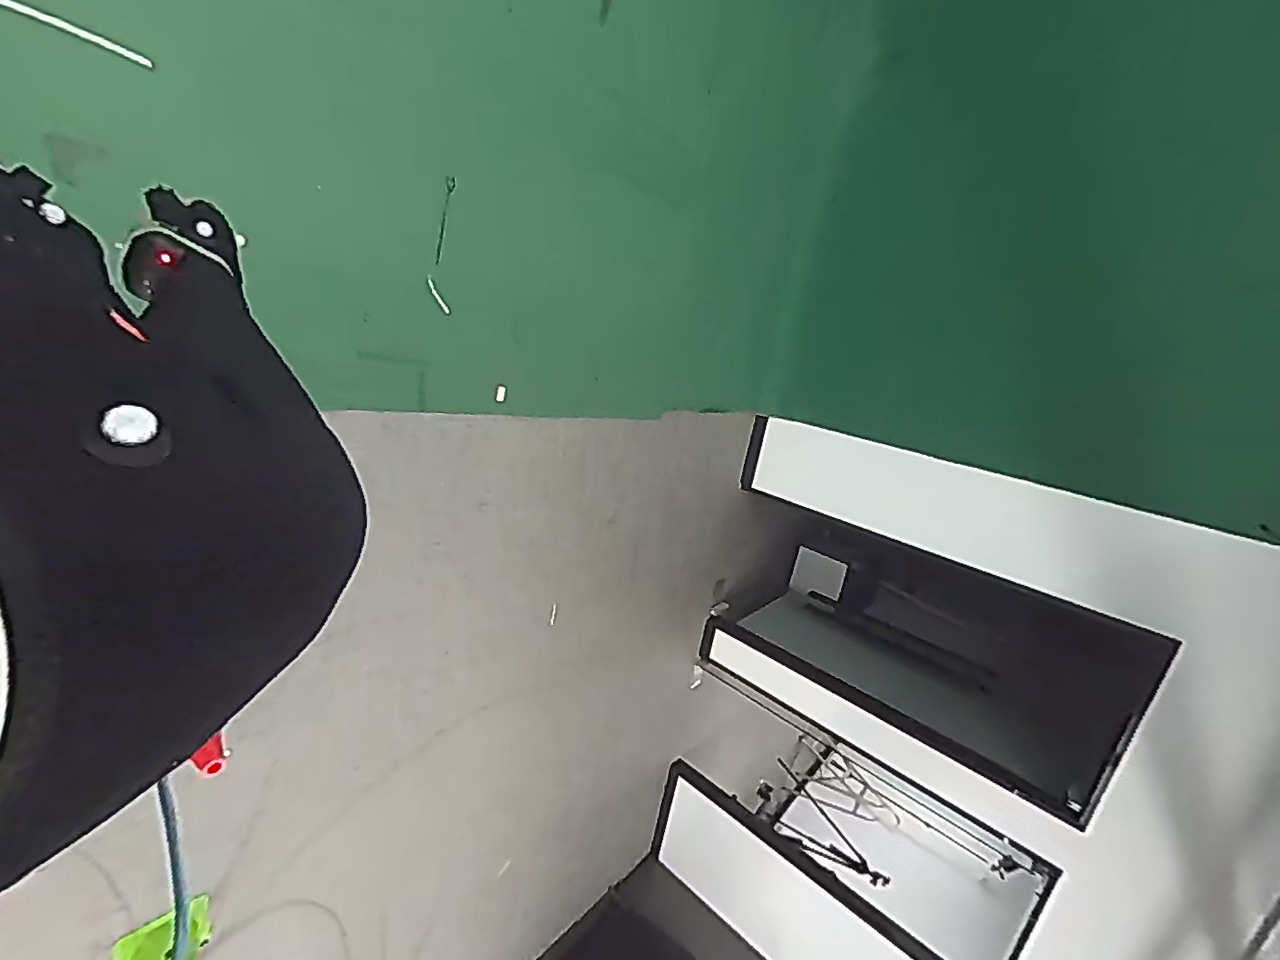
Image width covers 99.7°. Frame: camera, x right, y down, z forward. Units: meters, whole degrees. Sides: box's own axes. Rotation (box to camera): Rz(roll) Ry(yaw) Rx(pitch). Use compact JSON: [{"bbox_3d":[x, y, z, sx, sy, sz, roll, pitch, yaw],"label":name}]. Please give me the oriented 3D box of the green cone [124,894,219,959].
[{"bbox_3d":[-1.189,1.347,1.420,0.202,0.368,0.200,-9,114,-48],"label":"green cone"}]
